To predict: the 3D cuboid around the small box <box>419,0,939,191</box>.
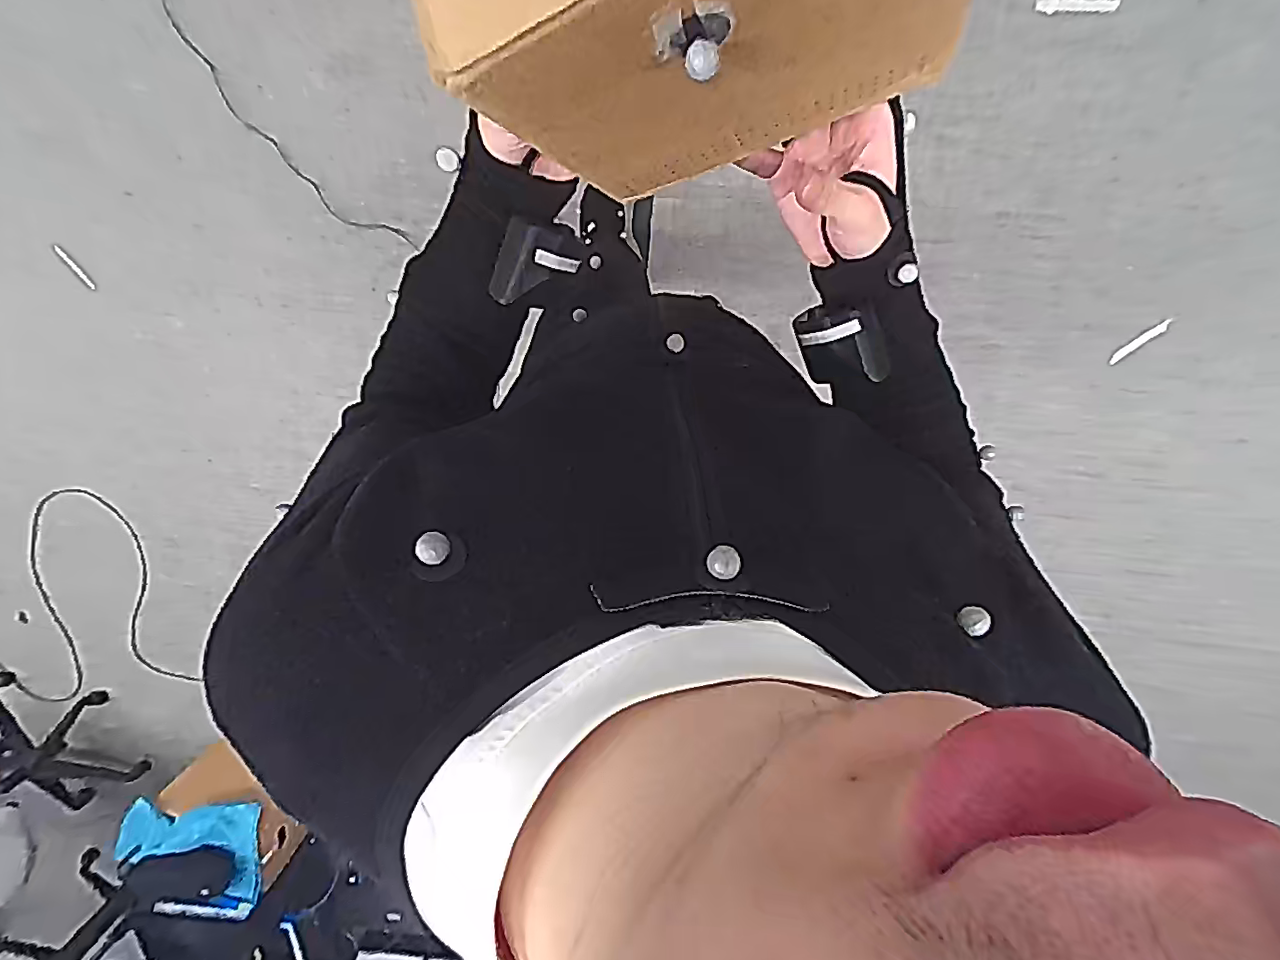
[{"bbox_3d":[0.020,-0.244,0.217,0.179,0.176,0.168,-10,100,23],"label":"small box"}]
